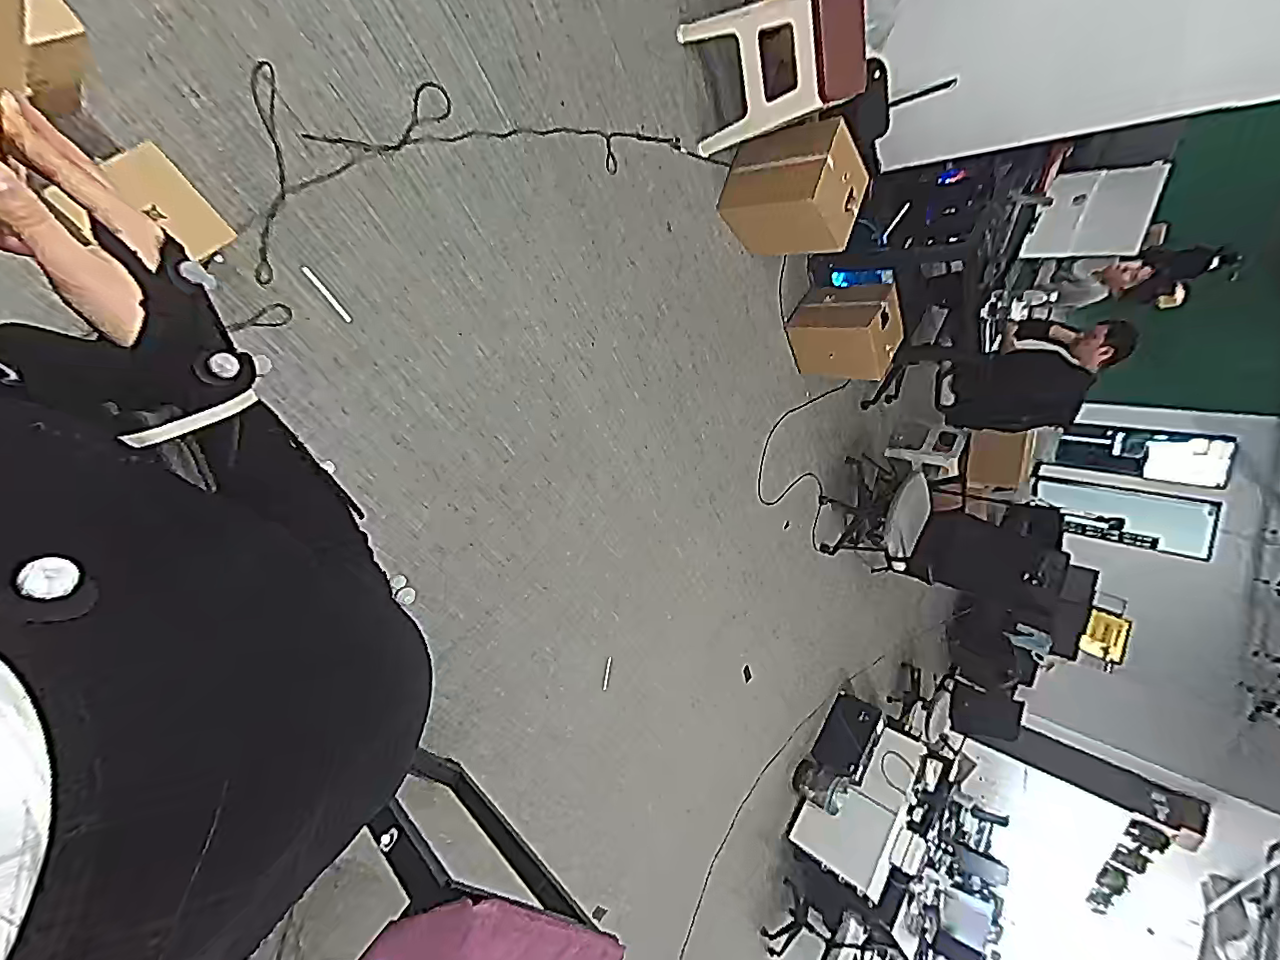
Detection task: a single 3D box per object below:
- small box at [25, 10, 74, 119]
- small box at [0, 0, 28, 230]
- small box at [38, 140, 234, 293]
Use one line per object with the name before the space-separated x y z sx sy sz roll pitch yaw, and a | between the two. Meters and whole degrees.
small box | -0.962 -0.616 0.757 0.179 0.176 0.168 -45 129 -28
small box | -0.400 -0.226 0.237 0.168 0.176 0.179 1 104 -45
small box | -0.851 -0.440 0.920 0.179 0.176 0.168 -50 130 -25
